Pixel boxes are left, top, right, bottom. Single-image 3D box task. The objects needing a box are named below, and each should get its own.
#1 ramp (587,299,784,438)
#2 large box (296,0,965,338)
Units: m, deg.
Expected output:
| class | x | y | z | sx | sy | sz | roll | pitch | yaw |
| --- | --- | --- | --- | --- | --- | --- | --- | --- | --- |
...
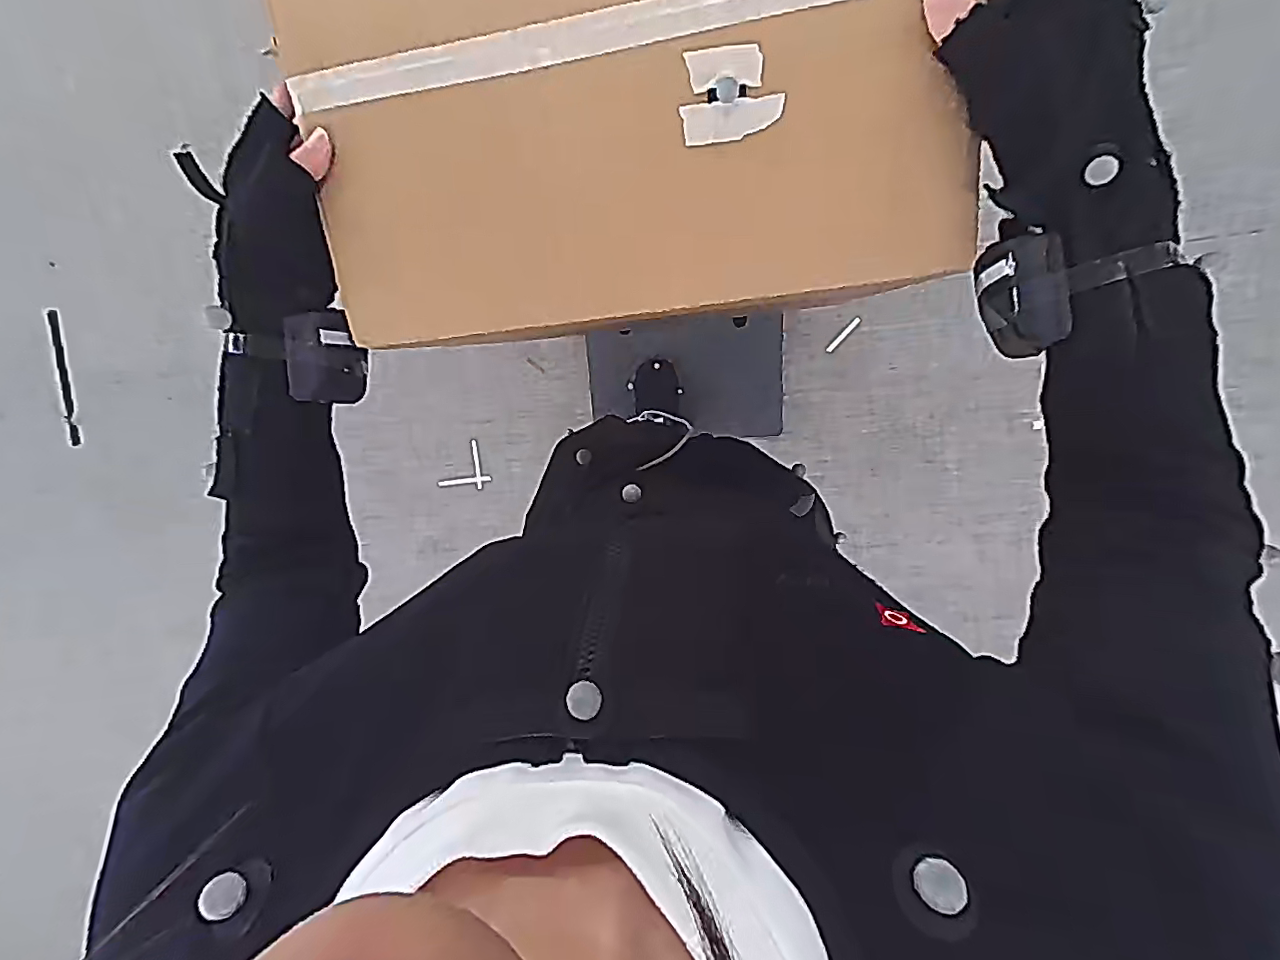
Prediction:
| class | x | y | z | sx | sy | sz | roll | pitch | yaw |
| --- | --- | --- | --- | --- | --- | --- | --- | --- | --- |
| ramp | 0.092 | -0.596 | 1.275 | 0.509 | 0.206 | 0.991 | -4 | 98 | 6 |
| large box | 0.000 | -0.306 | 0.467 | 0.408 | 0.320 | 0.320 | -5 | 105 | 8 |
